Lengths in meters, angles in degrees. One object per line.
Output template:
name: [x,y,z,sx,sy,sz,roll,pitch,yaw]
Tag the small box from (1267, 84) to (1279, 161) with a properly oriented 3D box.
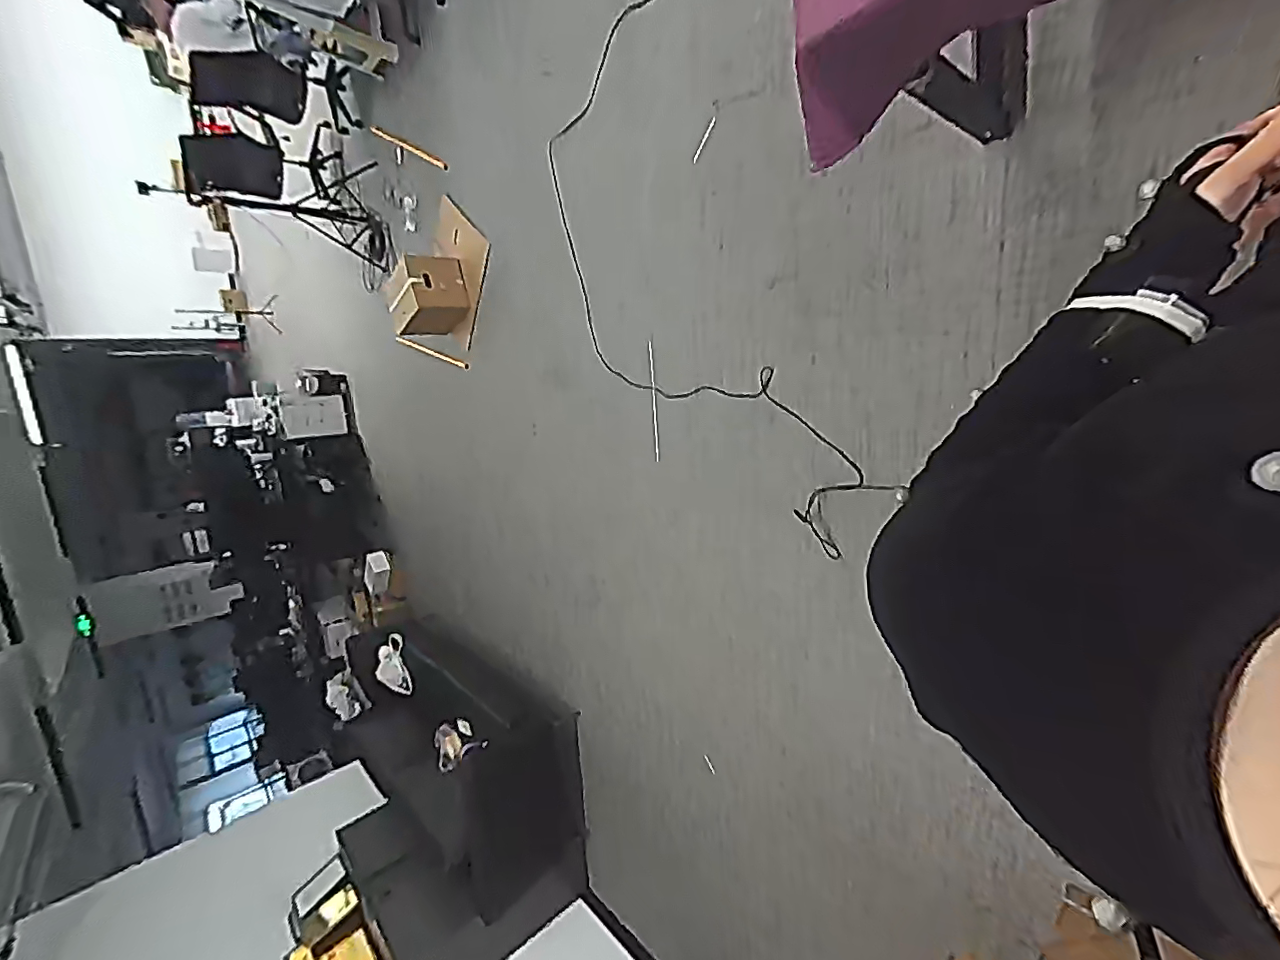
small box: [0.476,-0.283,0.275,0.179,0.176,0.168,9,109,39]
